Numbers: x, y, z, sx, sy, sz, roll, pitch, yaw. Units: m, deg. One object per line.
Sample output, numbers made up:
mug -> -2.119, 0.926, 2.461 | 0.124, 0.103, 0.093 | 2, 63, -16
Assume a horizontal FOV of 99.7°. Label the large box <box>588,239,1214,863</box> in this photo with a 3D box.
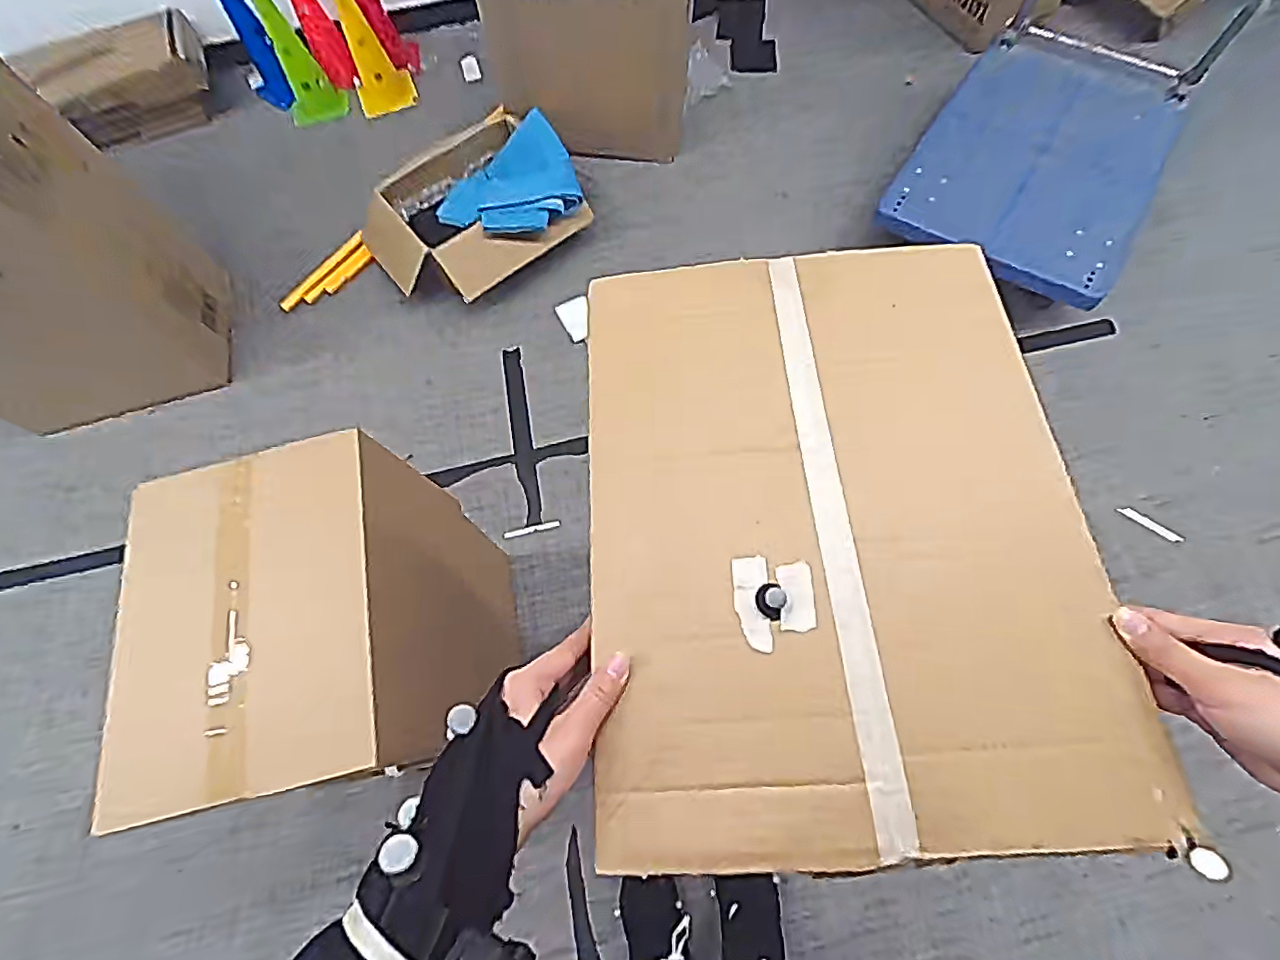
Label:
large box -> 0.135, 0.060, 0.490 | 0.320, 0.320, 0.408 | -5, 67, 3
